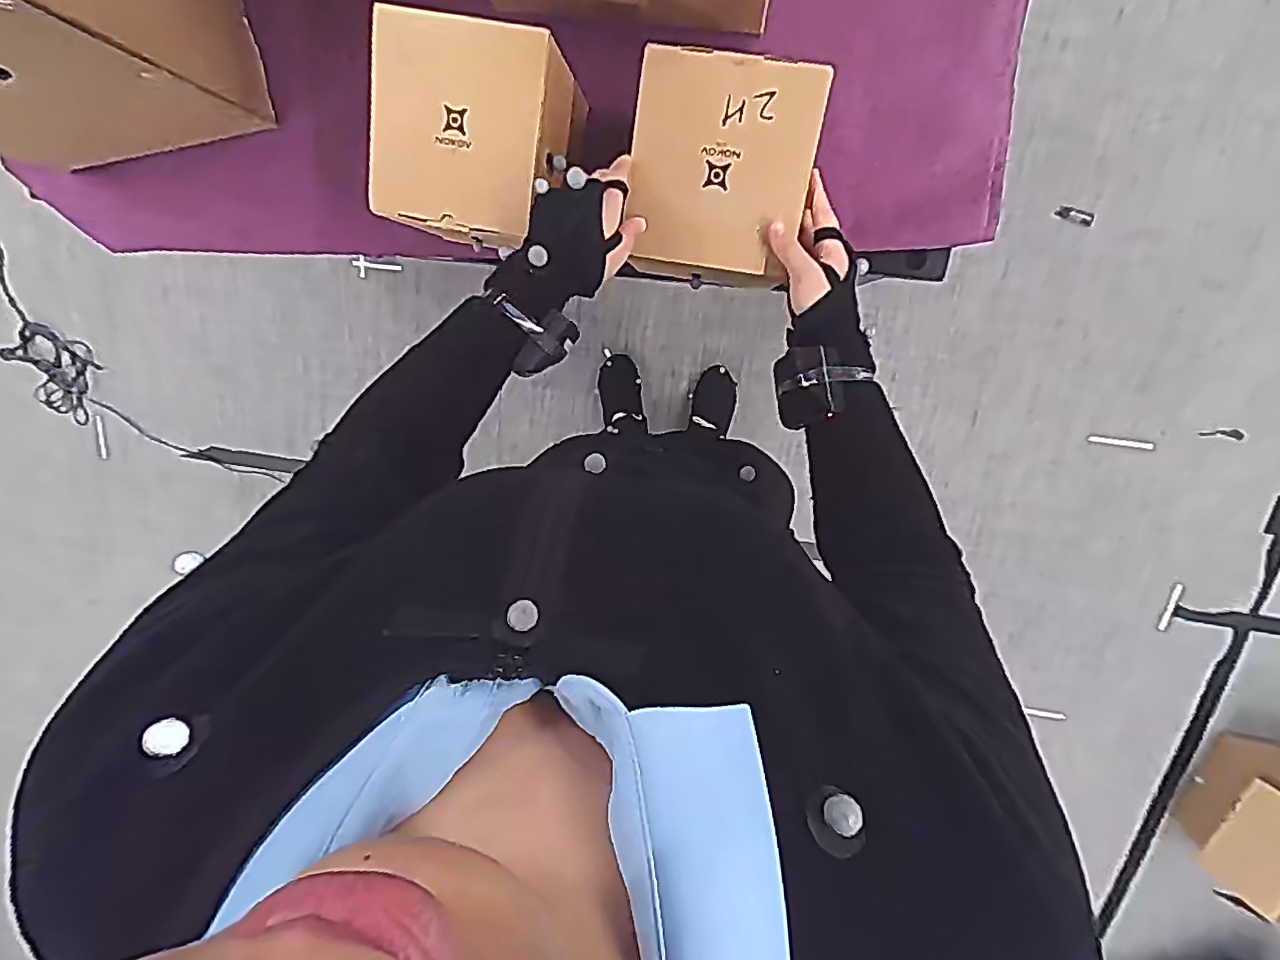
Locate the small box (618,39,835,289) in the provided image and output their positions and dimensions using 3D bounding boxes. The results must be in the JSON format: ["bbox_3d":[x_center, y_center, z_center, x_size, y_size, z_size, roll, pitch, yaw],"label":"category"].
[{"bbox_3d":[0.081,-0.302,0.558,0.168,0.176,0.179,10,106,3],"label":"small box"}]
